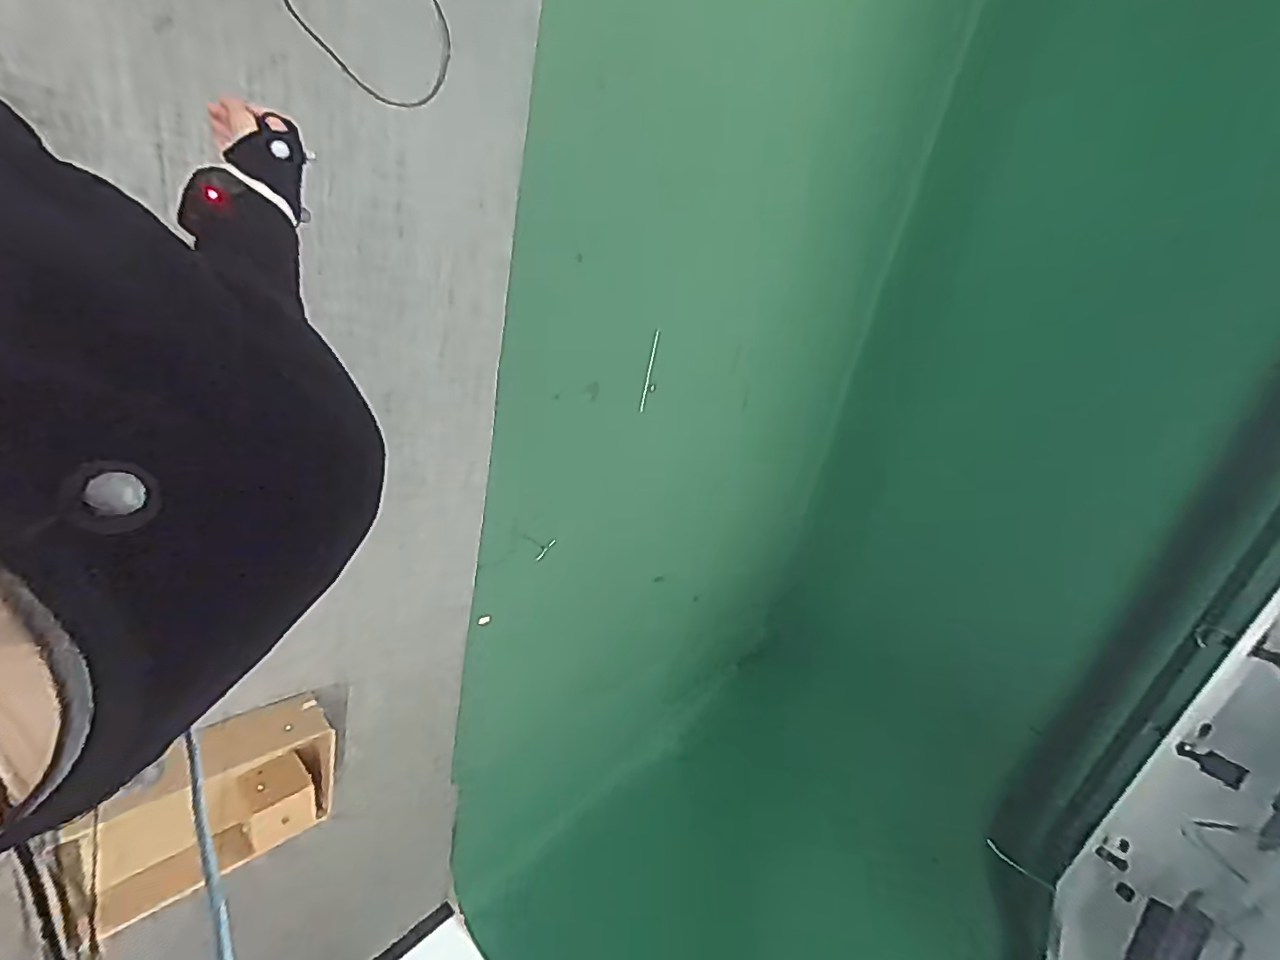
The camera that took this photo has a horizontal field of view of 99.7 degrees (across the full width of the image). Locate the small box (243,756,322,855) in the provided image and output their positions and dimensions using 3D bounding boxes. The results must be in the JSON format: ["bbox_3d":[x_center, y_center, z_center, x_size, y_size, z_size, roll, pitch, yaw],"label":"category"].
[{"bbox_3d":[-1.107,0.993,1.674,0.168,0.176,0.179,-13,122,-46],"label":"small box"}]
